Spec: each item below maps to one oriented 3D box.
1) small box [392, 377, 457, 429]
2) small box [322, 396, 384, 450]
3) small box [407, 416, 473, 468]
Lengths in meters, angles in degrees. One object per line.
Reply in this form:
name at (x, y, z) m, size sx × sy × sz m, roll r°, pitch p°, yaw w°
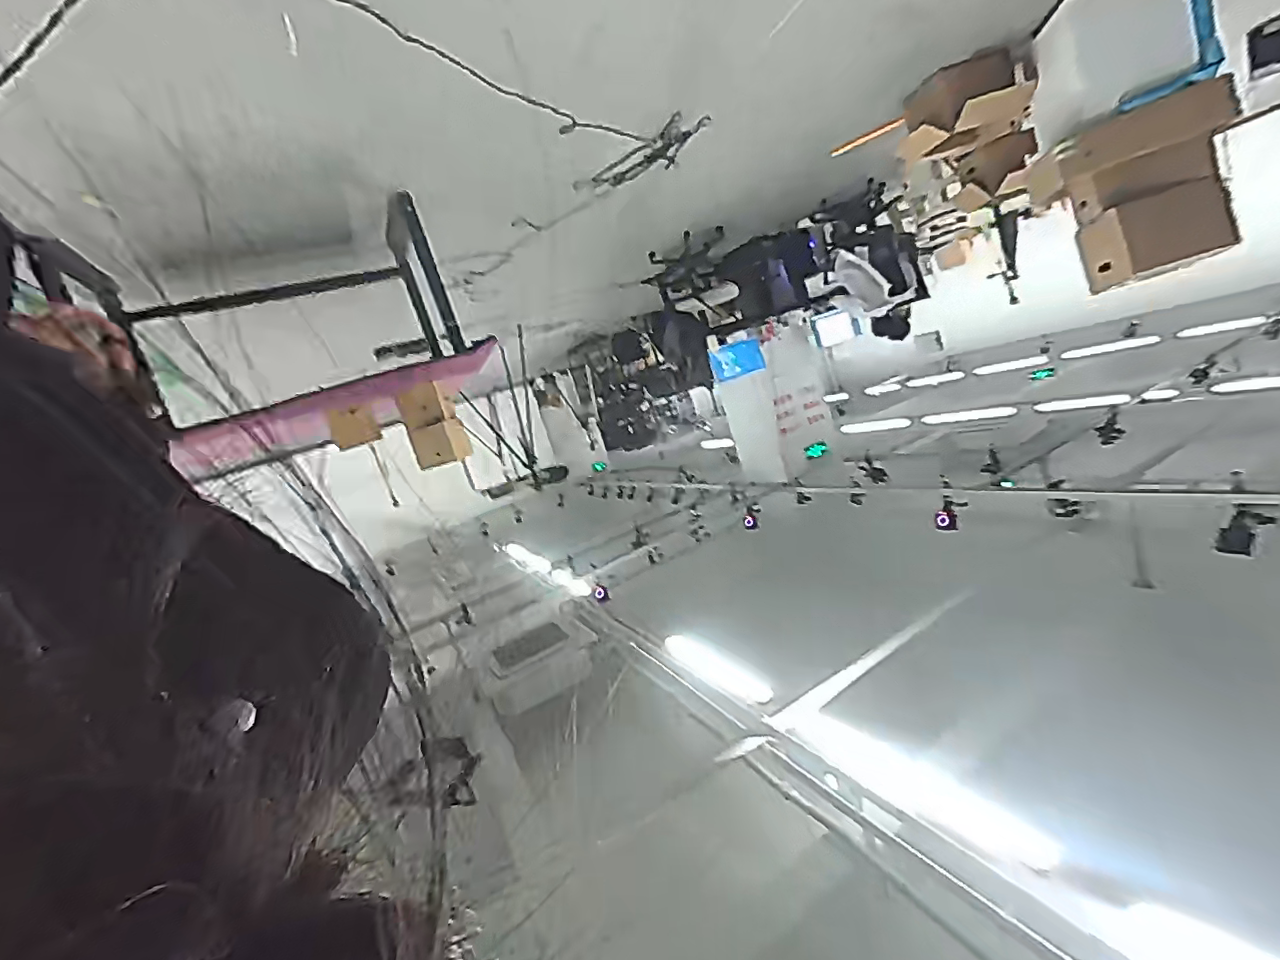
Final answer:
small box at (-0.890, -0.320, 2.240) m, size 0.179 × 0.176 × 0.168 m, roll -18°, pitch -171°, yaw -1°
small box at (-1.125, -0.225, 2.118) m, size 0.168 × 0.176 × 0.179 m, roll -24°, pitch -169°, yaw -26°
small box at (-0.831, -0.166, 2.253) m, size 0.179 × 0.176 × 0.168 m, roll -15°, pitch -171°, yaw 11°
